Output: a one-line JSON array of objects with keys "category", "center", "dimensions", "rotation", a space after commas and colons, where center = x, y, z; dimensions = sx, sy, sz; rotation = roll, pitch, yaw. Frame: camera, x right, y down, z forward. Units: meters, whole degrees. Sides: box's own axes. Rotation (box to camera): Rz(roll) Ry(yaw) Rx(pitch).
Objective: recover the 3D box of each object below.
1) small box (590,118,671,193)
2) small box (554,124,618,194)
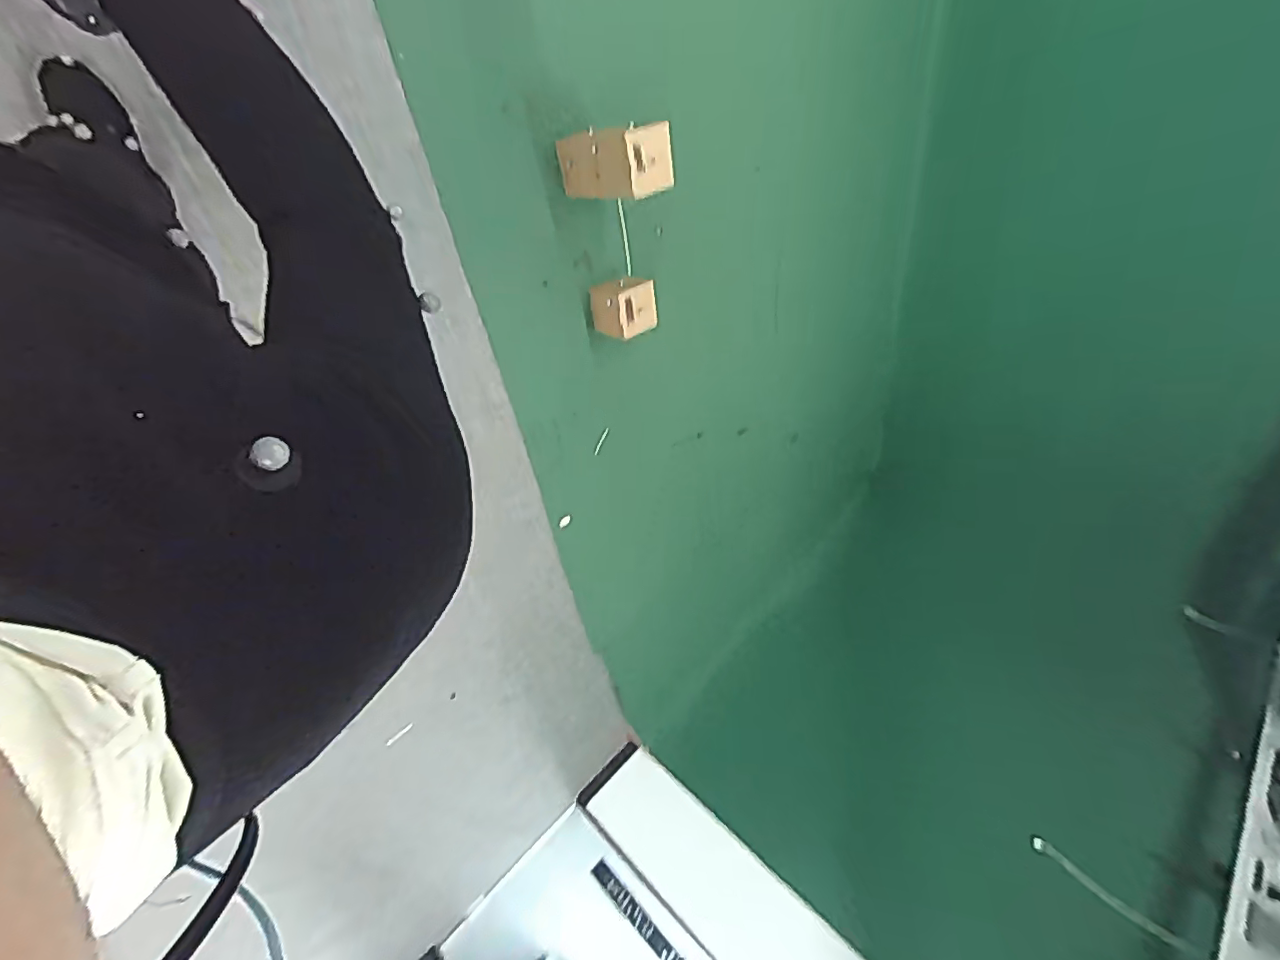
[{"category": "small box", "center": [-0.033, -0.971, 1.624], "dimensions": [0.179, 0.176, 0.168], "rotation": [-36, 134, -30]}, {"category": "small box", "center": [-0.146, -1.028, 1.727], "dimensions": [0.179, 0.176, 0.168], "rotation": [-35, 133, -29]}]
